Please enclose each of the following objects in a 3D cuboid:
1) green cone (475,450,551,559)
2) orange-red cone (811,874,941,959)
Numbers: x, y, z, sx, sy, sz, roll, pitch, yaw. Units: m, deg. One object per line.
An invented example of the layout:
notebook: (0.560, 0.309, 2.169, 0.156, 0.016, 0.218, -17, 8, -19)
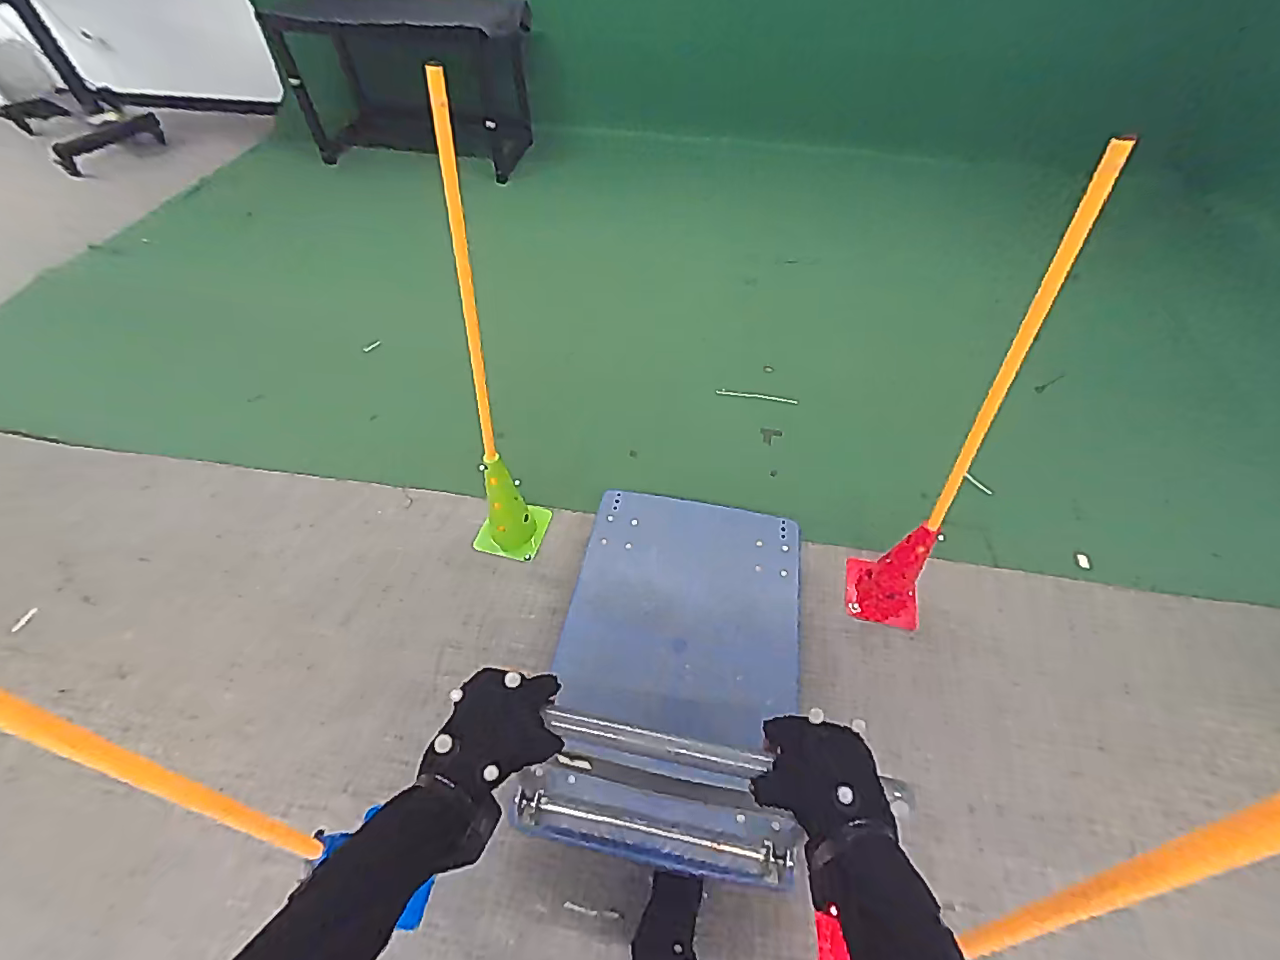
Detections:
green cone: (-0.404, 0.045, 1.594, 0.202, 0.368, 0.200, 11, 52, 9)
orange-red cone: (0.455, 0.839, 0.984, 0.199, 0.360, 0.198, 6, 51, 6)
